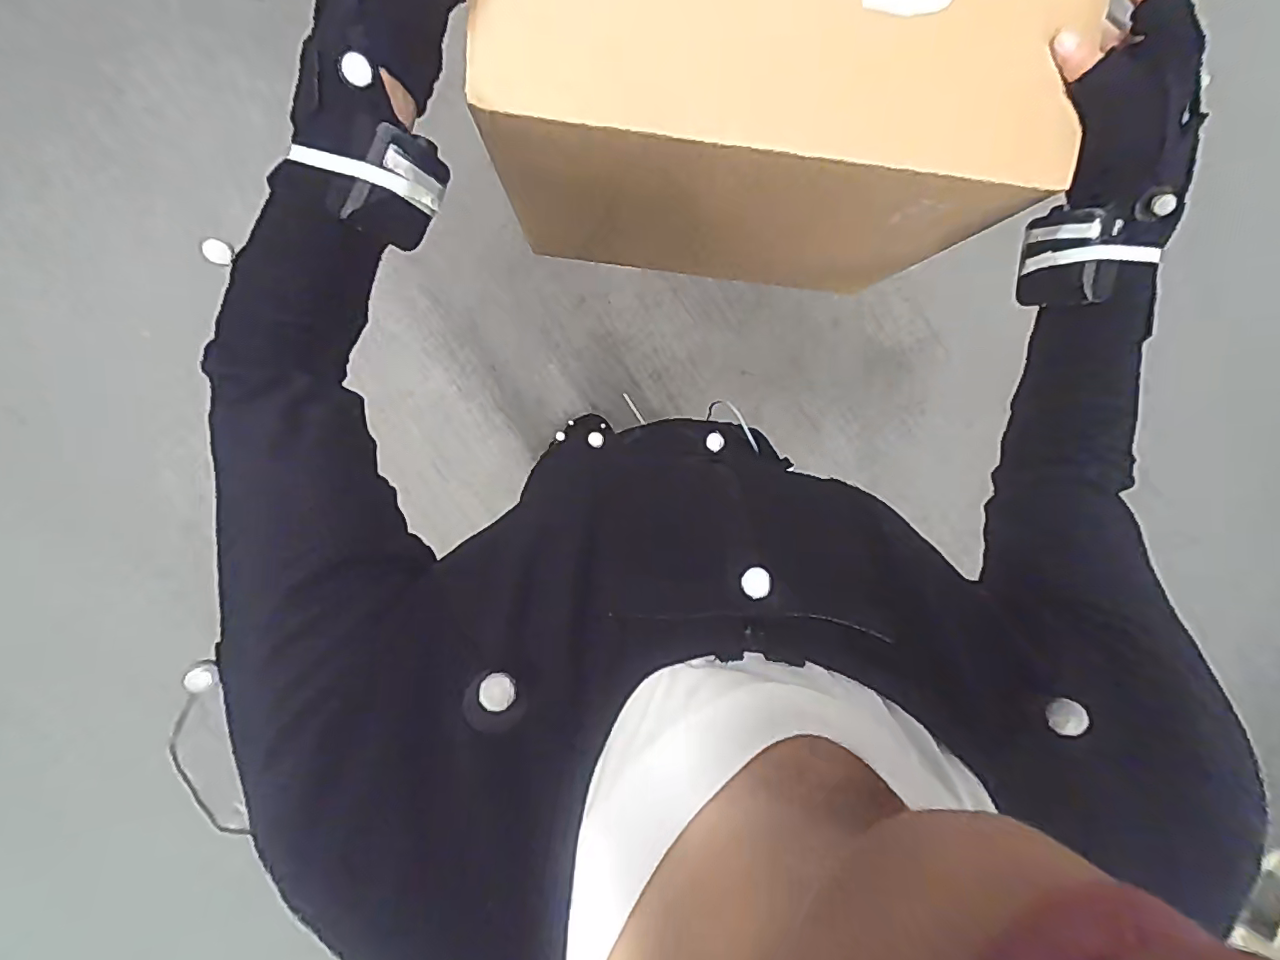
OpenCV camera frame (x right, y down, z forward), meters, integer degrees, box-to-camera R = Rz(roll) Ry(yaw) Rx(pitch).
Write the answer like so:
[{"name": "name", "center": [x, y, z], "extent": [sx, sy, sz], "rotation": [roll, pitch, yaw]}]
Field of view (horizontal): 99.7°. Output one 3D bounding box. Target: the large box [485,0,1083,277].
[{"name": "large box", "center": [0.091, -0.395, 0.492], "extent": [0.408, 0.320, 0.320], "rotation": [4, 97, -6]}]
